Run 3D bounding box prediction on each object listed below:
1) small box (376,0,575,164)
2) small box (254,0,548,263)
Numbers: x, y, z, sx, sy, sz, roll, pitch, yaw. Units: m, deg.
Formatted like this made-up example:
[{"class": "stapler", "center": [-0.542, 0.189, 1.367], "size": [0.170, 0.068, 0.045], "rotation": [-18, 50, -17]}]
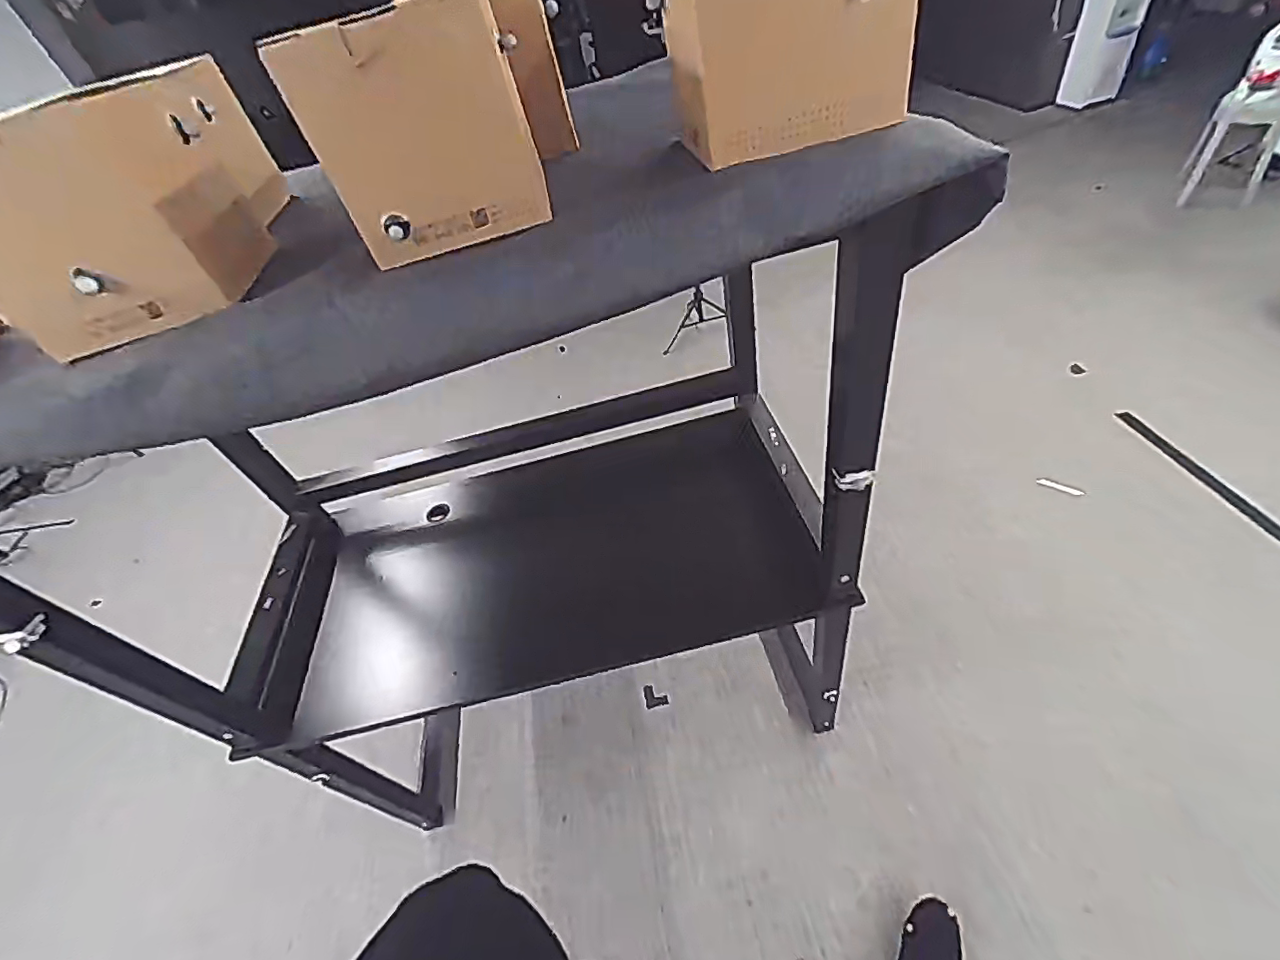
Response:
[{"class": "small box", "center": [-0.183, -0.483, 0.647], "size": [0.168, 0.176, 0.179], "rotation": [-15, 47, 2]}, {"class": "small box", "center": [-0.189, -0.317, 0.488], "size": [0.168, 0.176, 0.179], "rotation": [-16, 44, 1]}]
